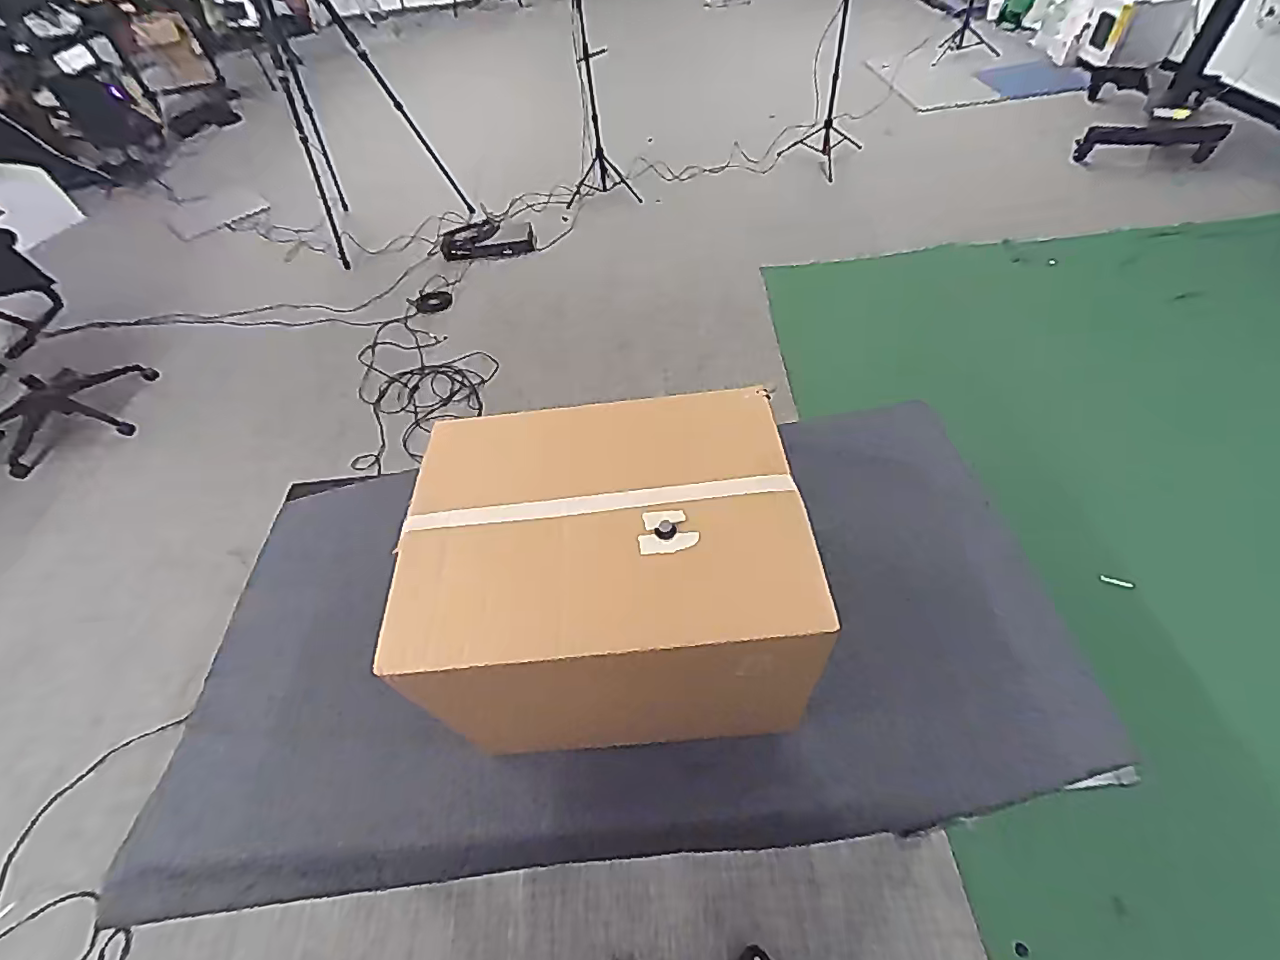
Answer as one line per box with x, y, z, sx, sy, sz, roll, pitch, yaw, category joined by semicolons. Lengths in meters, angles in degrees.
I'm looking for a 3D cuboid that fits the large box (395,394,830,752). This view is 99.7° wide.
-0.026;0.127;0.689;0.408;0.320;0.320;-6;52;1;large box
